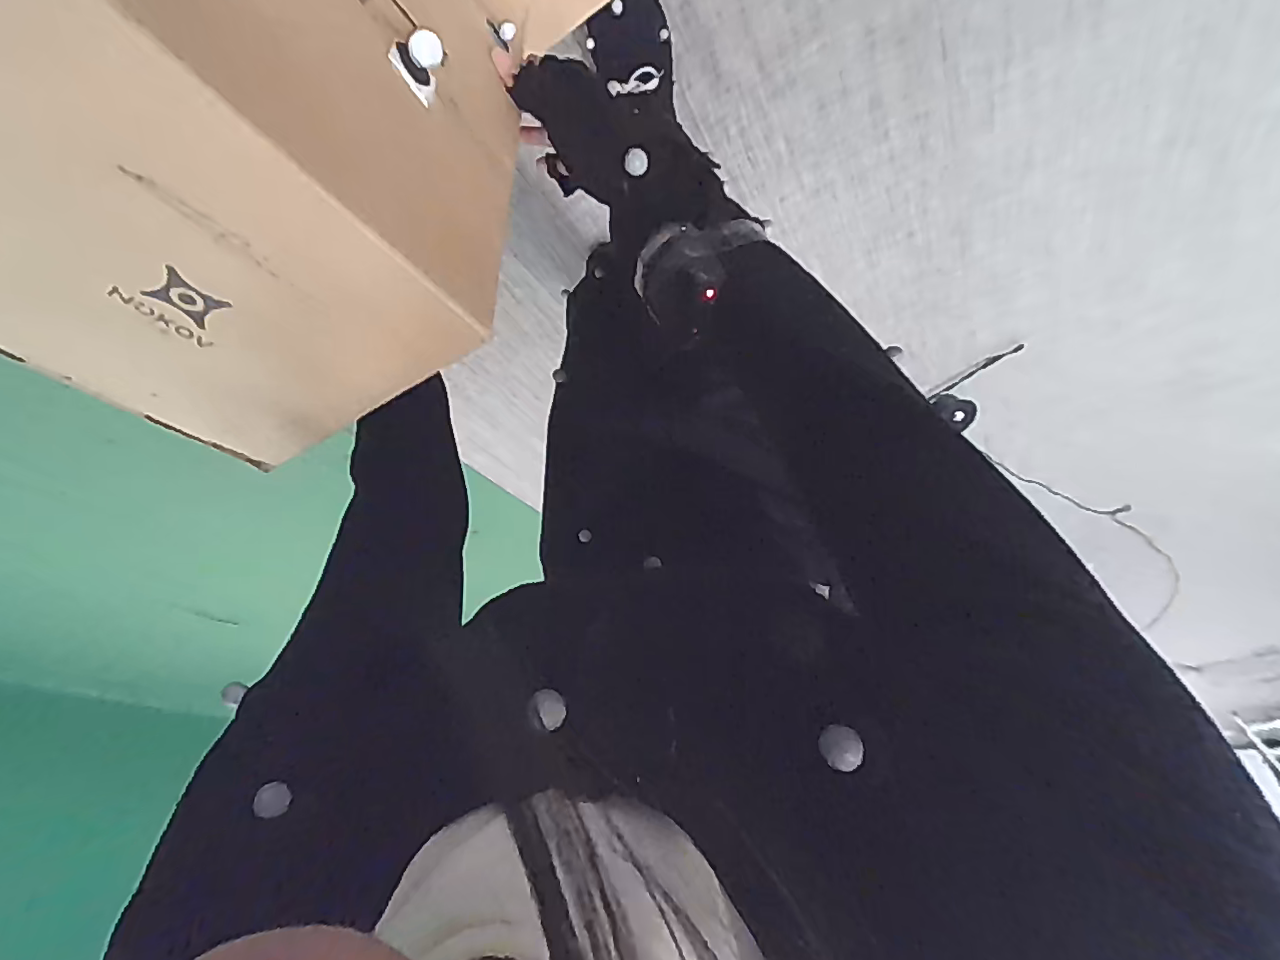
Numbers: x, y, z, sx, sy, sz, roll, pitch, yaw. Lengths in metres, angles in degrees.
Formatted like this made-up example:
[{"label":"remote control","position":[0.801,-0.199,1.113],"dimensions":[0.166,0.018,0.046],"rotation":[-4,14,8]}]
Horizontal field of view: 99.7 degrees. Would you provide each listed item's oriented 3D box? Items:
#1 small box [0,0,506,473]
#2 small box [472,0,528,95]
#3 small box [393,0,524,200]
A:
[{"label":"small box","position":[-0.183,-0.135,0.266],"dimensions":[0.179,0.176,0.168],"rotation":[-23,143,24]},{"label":"small box","position":[-0.211,-0.398,0.459],"dimensions":[0.168,0.176,0.179],"rotation":[-23,142,26]},{"label":"small box","position":[-0.195,-0.263,0.364],"dimensions":[0.179,0.176,0.168],"rotation":[-20,143,24]}]
